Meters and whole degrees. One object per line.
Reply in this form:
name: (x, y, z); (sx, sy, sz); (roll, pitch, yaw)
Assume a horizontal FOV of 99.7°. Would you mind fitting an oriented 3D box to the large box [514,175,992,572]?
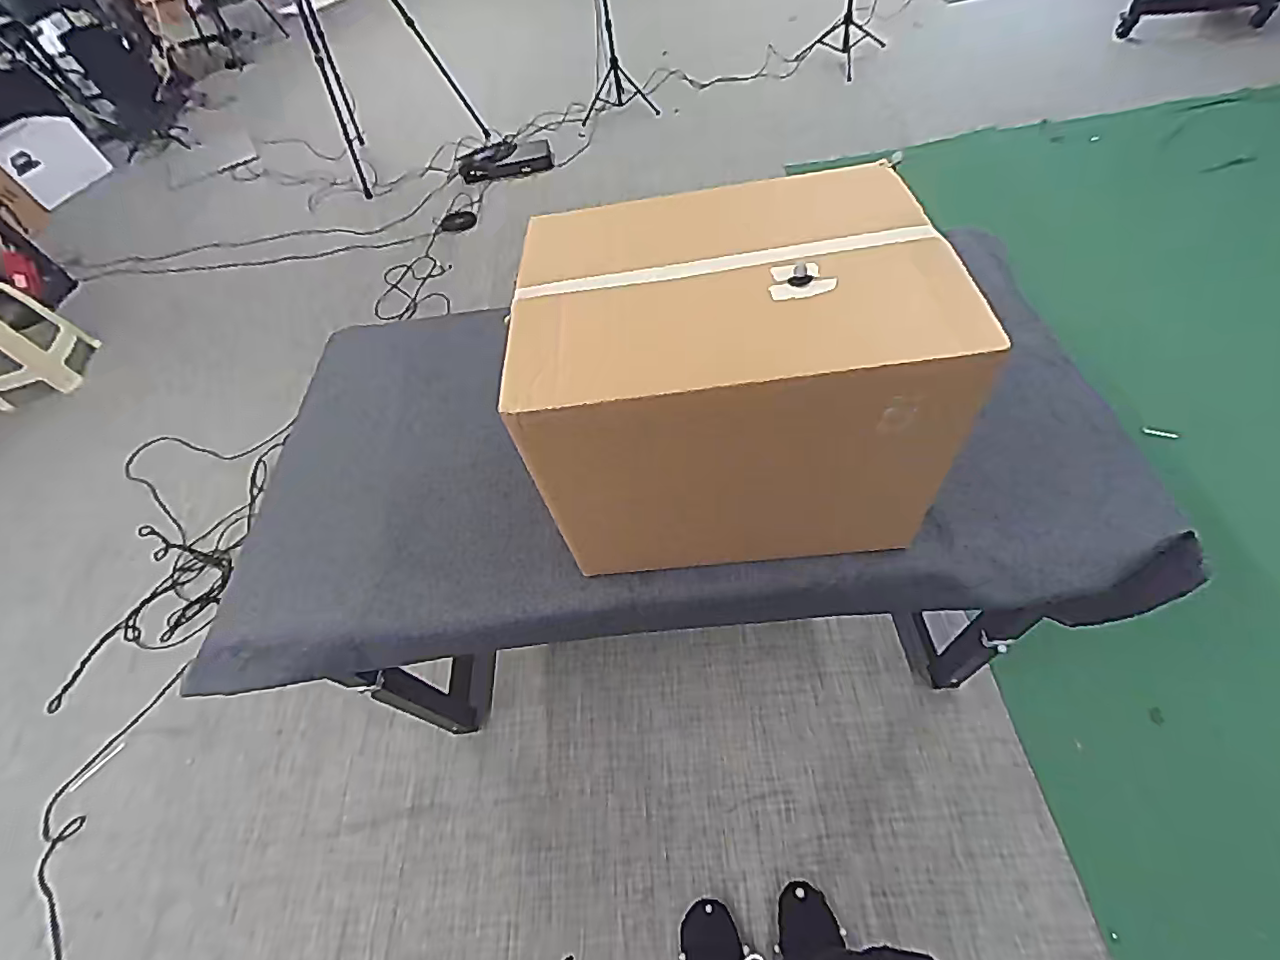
large box: (0.098, -0.111, 0.650); (0.408, 0.320, 0.320); (-6, 53, 5)
